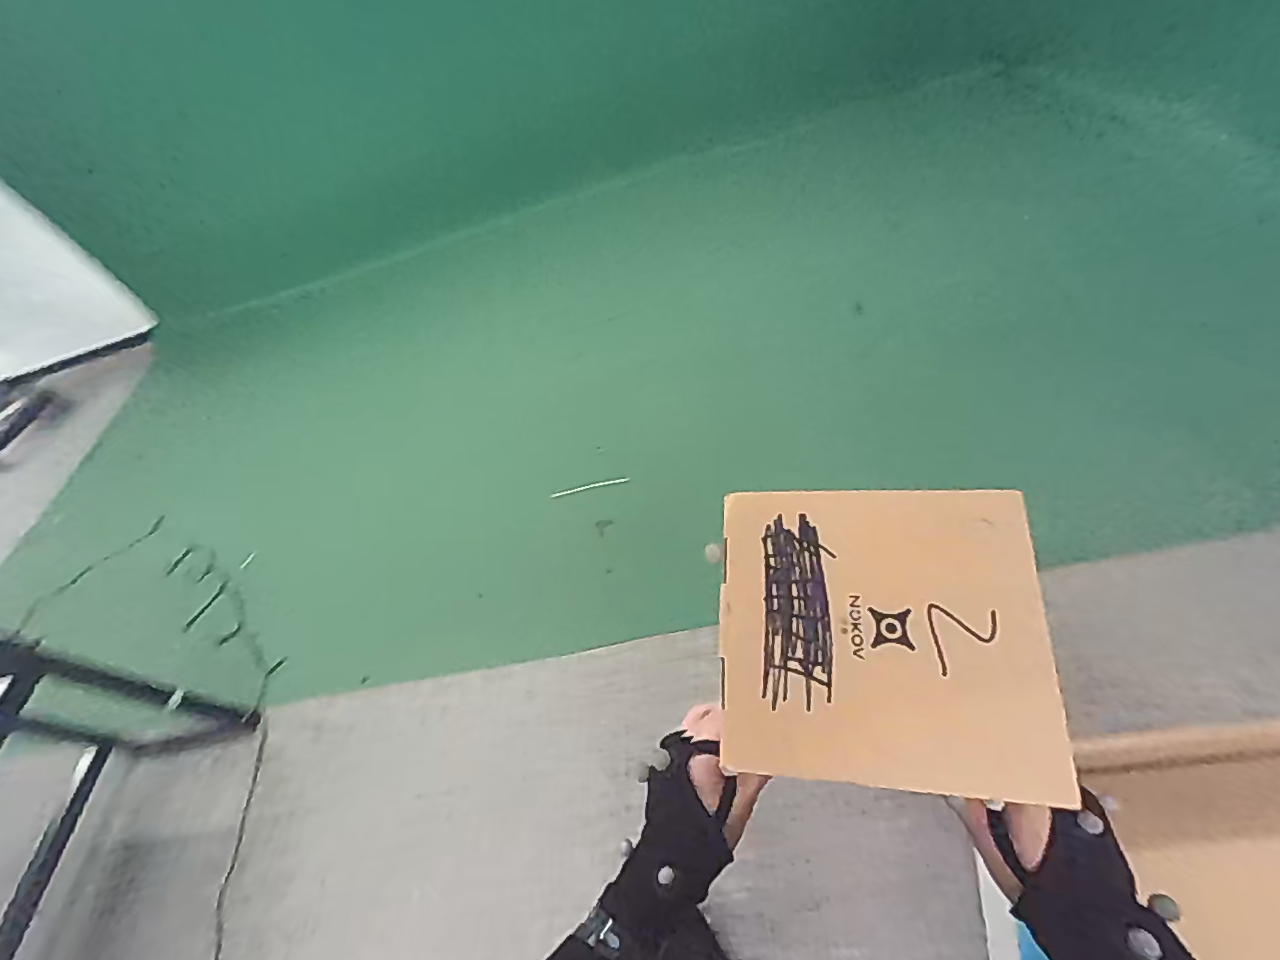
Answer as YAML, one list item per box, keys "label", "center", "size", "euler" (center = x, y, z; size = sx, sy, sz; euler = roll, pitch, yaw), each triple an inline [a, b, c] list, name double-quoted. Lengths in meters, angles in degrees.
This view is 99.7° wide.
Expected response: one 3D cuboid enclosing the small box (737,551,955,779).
- label: "small box"
  center: [0.184, 0.178, 0.529]
  size: [0.168, 0.176, 0.179]
  euler: [-1, 67, 15]
